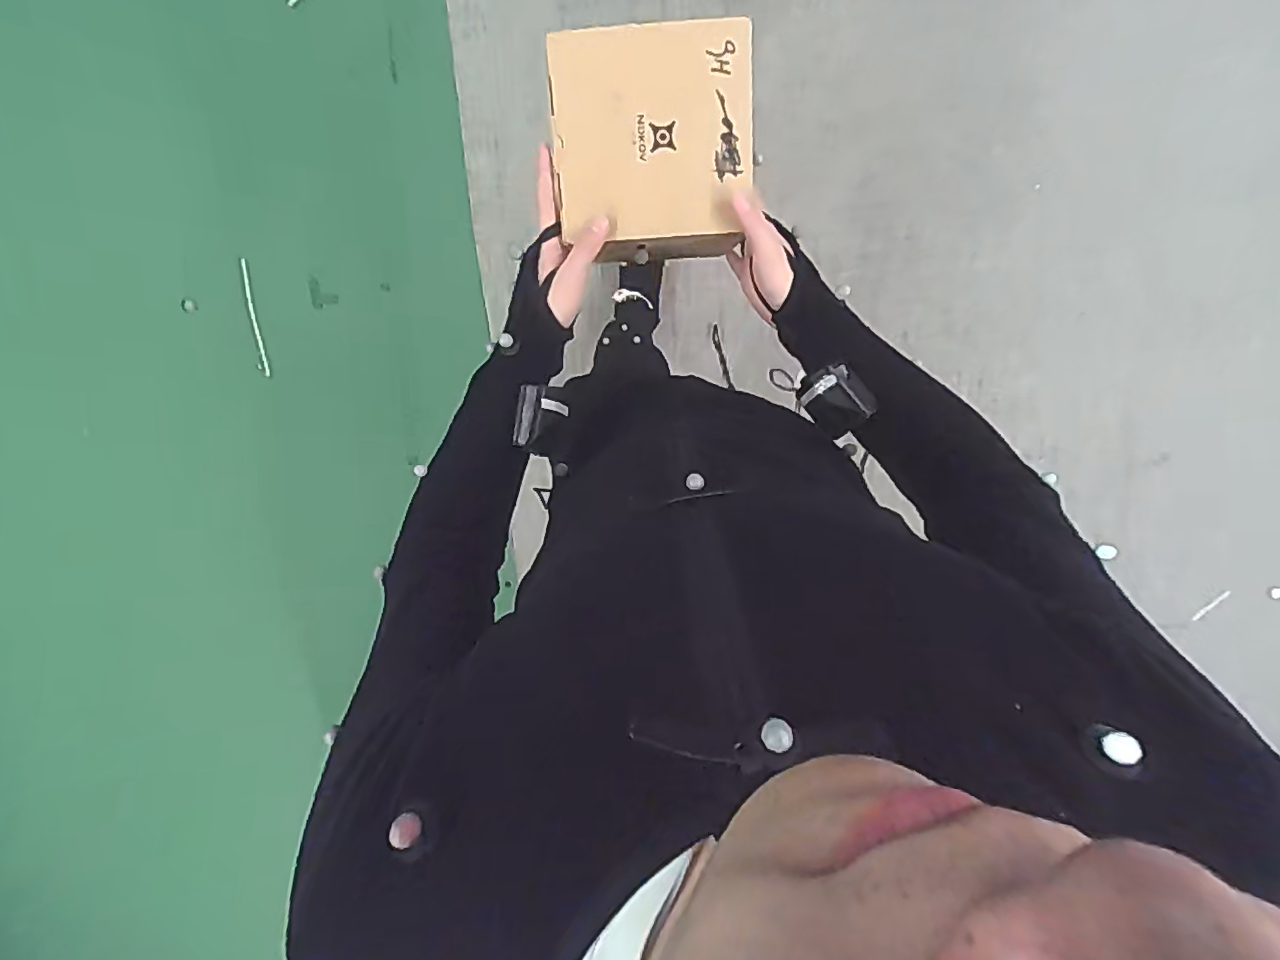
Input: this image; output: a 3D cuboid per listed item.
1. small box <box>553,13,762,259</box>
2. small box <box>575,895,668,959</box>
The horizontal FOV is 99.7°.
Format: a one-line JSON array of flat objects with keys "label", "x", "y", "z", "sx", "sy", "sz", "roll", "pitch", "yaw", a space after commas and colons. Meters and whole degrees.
[{"label": "small box", "x": 0.018, "y": -0.323, "z": 0.544, "sx": 0.179, "sy": 0.176, "sz": 0.168, "roll": -3, "pitch": 105, "yaw": 1}, {"label": "small box", "x": -0.038, "y": 0.948, "z": 1.052, "sx": 0.179, "sy": 0.176, "sz": 0.168, "roll": 1, "pitch": 105, "yaw": -2}]
